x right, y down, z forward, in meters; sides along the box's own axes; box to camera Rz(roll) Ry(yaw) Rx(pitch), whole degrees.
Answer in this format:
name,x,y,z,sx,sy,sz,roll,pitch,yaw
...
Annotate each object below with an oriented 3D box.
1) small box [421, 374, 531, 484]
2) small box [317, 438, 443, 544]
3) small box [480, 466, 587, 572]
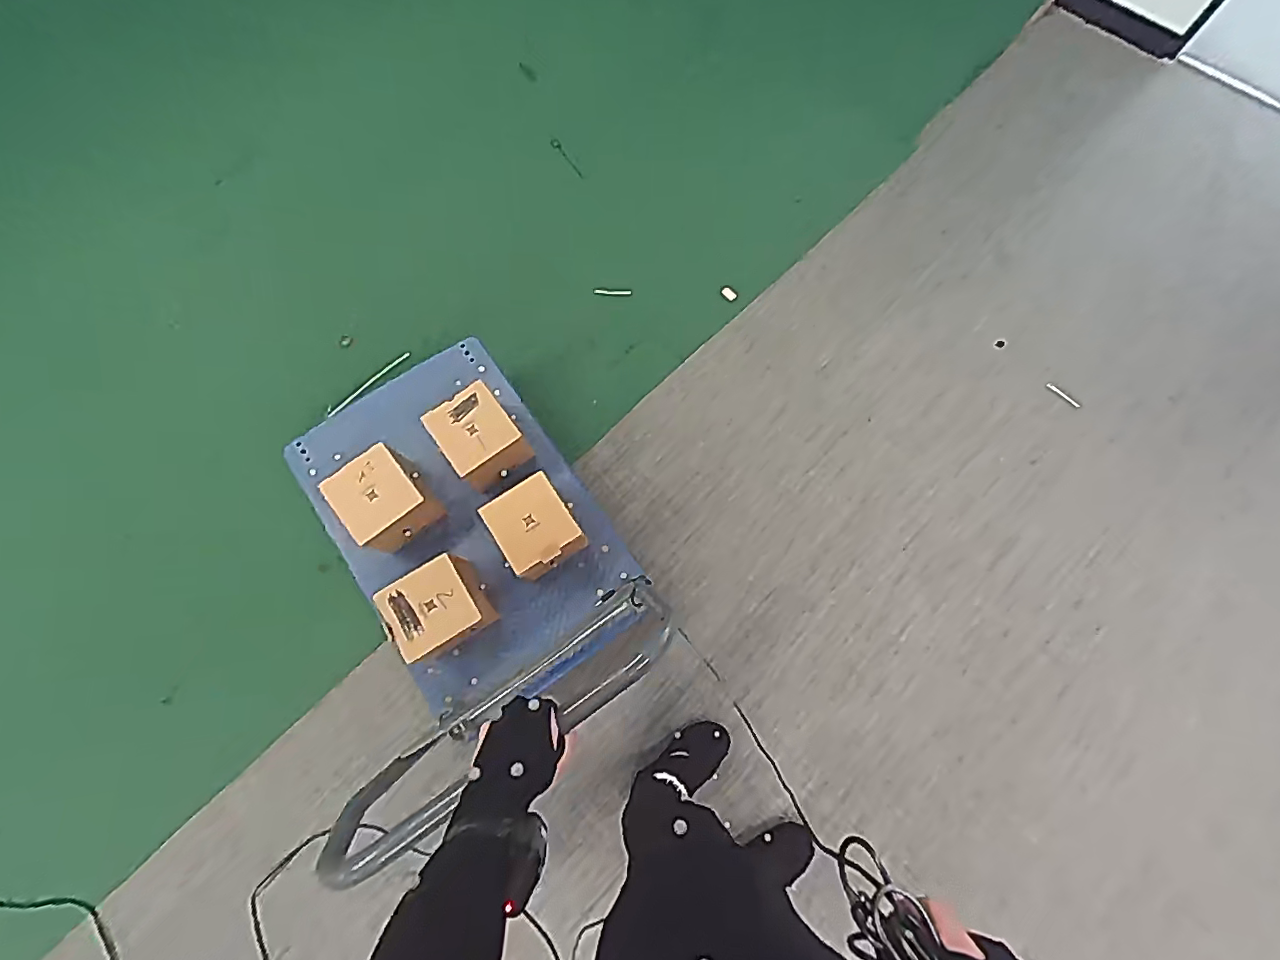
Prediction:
name,x,y,z,sx,sy,sz,roll,pitch,yaw
small box,-0.381,-0.113,1.286,0.168,0.176,0.179,-36,82,-8
small box,-0.587,0.036,1.248,0.168,0.176,0.179,-38,81,-10
small box,-0.238,0.098,1.245,0.168,0.176,0.179,-33,81,-8
